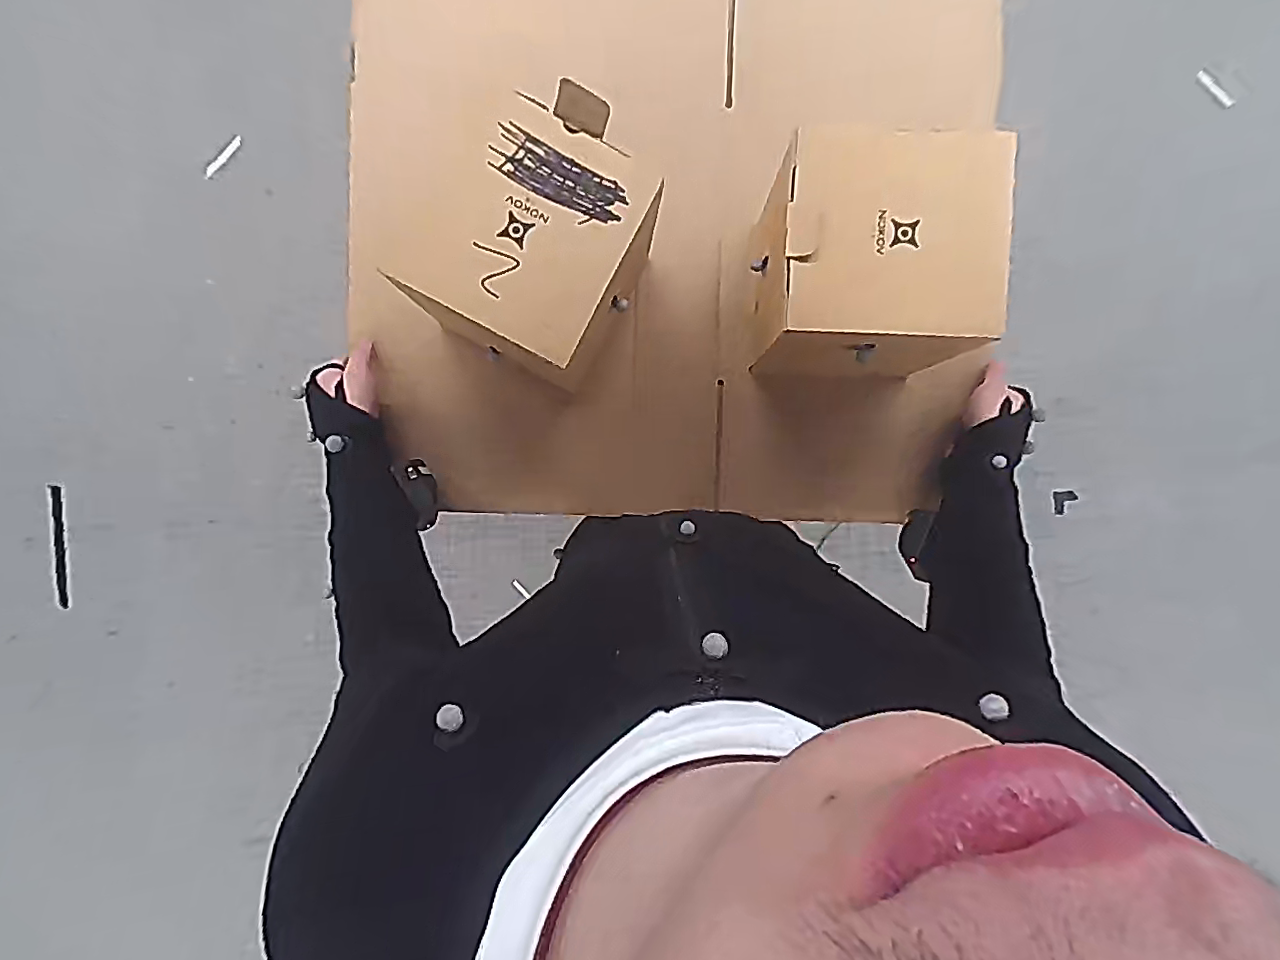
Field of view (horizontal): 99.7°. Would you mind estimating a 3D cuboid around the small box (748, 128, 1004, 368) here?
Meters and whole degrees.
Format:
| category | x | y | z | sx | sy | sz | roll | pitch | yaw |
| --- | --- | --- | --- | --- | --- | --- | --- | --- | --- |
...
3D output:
| category | x | y | z | sx | sy | sz | roll | pitch | yaw |
| --- | --- | --- | --- | --- | --- | --- | --- | --- | --- |
| small box | 0.211 | -0.208 | 0.528 | 0.179 | 0.176 | 0.168 | 3 | 91 | 2 |
